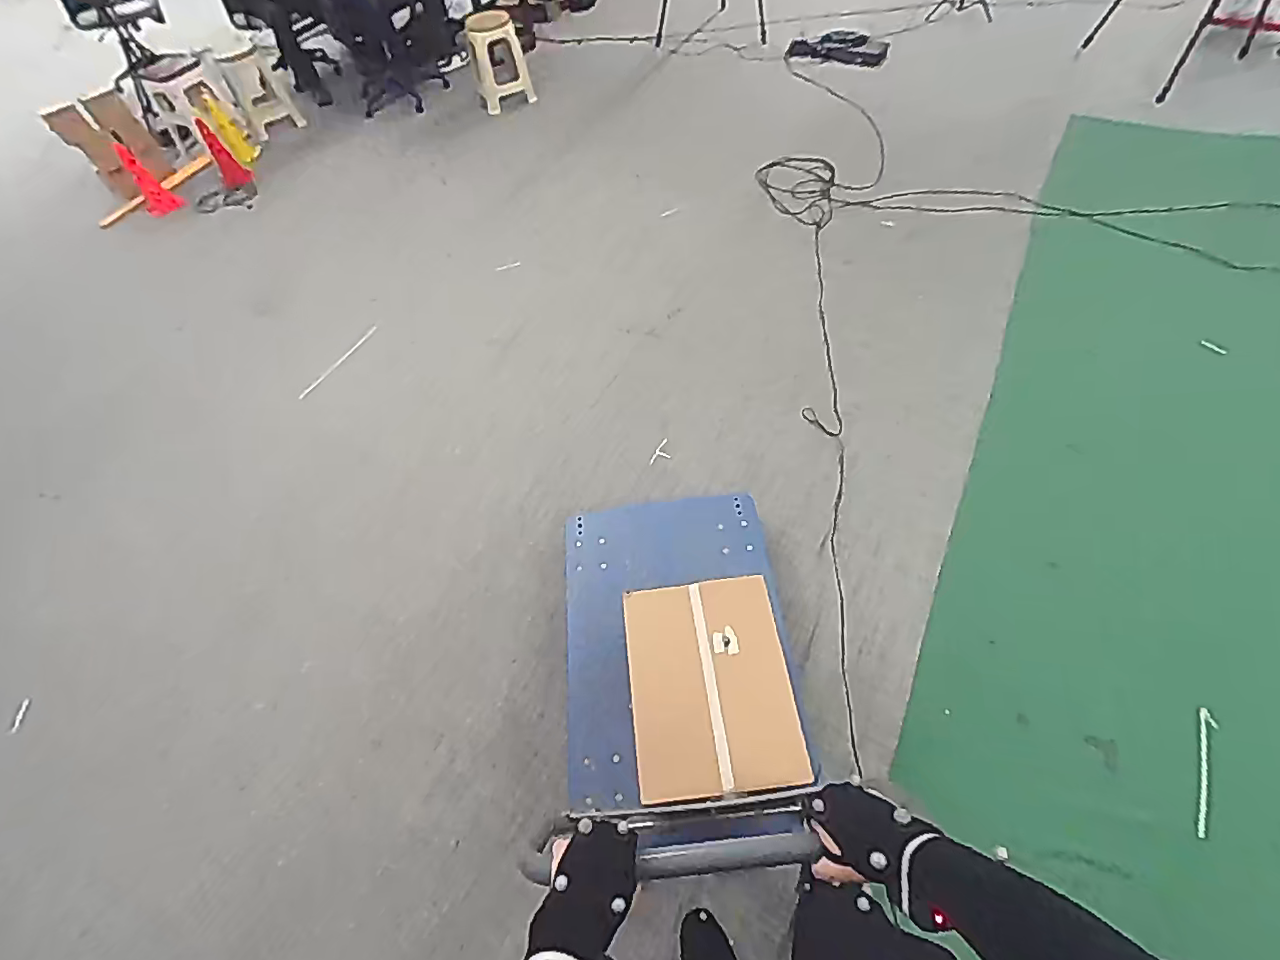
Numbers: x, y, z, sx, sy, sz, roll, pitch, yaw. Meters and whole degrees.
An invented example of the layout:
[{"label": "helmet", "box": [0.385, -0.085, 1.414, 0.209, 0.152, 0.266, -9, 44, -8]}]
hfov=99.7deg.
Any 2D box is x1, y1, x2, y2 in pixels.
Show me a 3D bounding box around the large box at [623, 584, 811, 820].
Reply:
[{"label": "large box", "box": [0.150, 0.498, 1.208, 0.320, 0.320, 0.408, -7, 54, 0]}]
